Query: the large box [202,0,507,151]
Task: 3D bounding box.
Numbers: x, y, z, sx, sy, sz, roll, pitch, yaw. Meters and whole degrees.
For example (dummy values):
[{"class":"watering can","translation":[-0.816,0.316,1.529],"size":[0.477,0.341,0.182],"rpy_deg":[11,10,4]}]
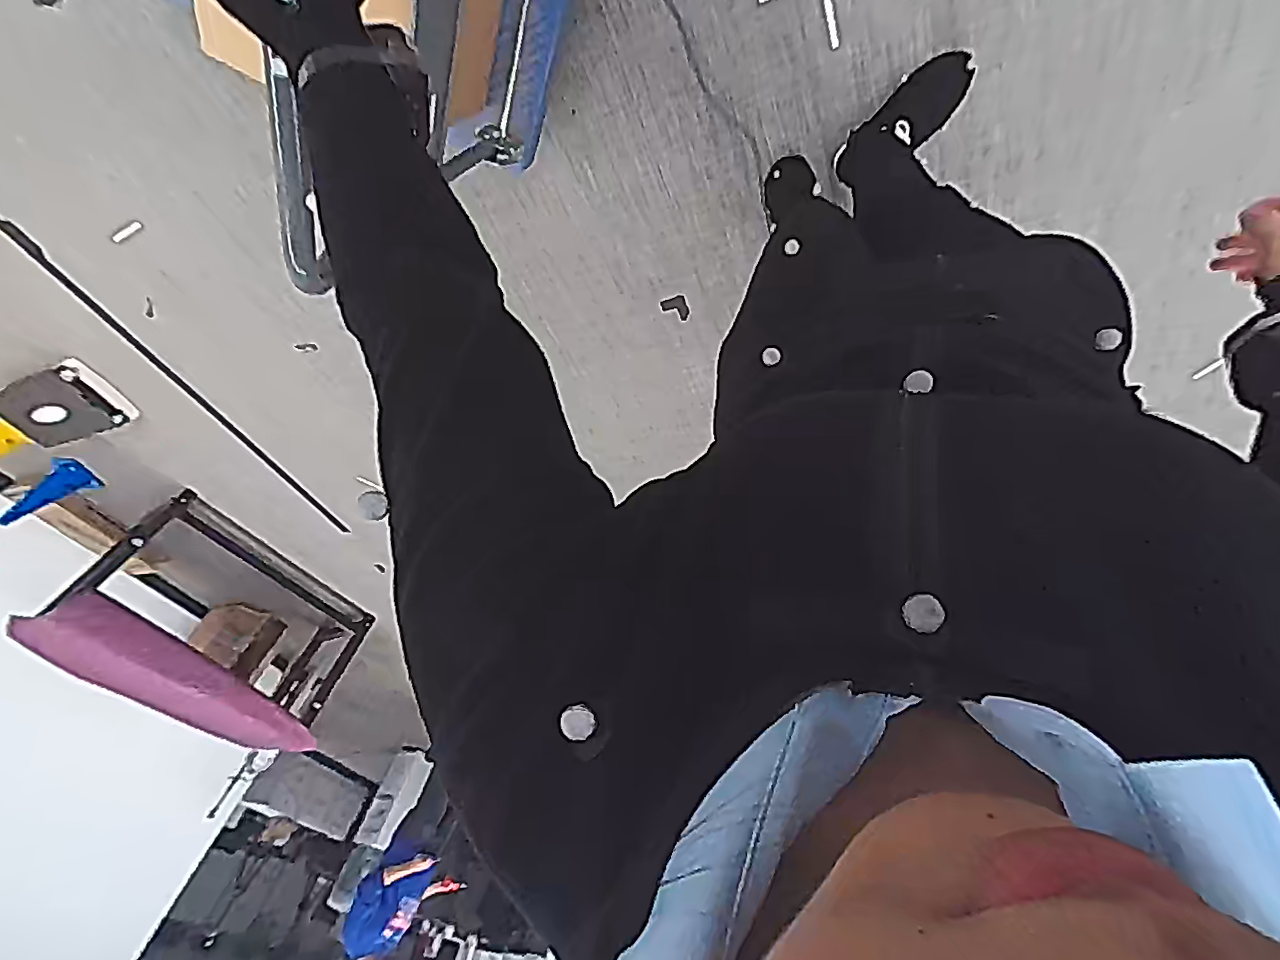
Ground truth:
[{"class":"large box","translation":[-0.383,-0.778,0.771],"size":[0.320,0.320,0.408],"rpy_deg":[23,135,-9]}]
